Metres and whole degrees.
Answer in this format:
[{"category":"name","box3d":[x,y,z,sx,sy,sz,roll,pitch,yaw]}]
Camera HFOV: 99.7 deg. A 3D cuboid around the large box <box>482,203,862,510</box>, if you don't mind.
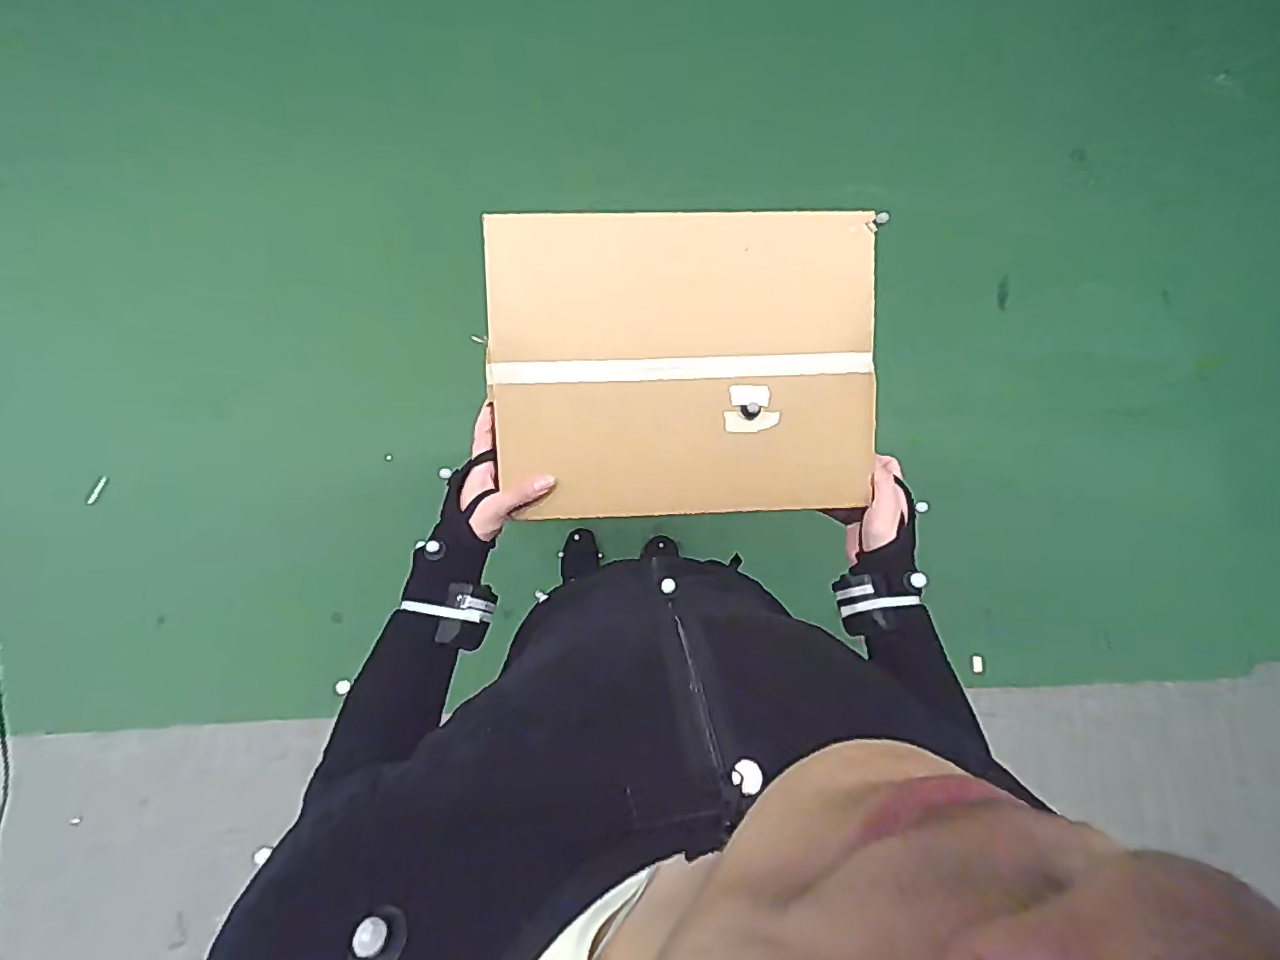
[{"category":"large box","box3d":[0.031,-0.146,0.723,0.408,0.320,0.320,-3,97,-4]}]
